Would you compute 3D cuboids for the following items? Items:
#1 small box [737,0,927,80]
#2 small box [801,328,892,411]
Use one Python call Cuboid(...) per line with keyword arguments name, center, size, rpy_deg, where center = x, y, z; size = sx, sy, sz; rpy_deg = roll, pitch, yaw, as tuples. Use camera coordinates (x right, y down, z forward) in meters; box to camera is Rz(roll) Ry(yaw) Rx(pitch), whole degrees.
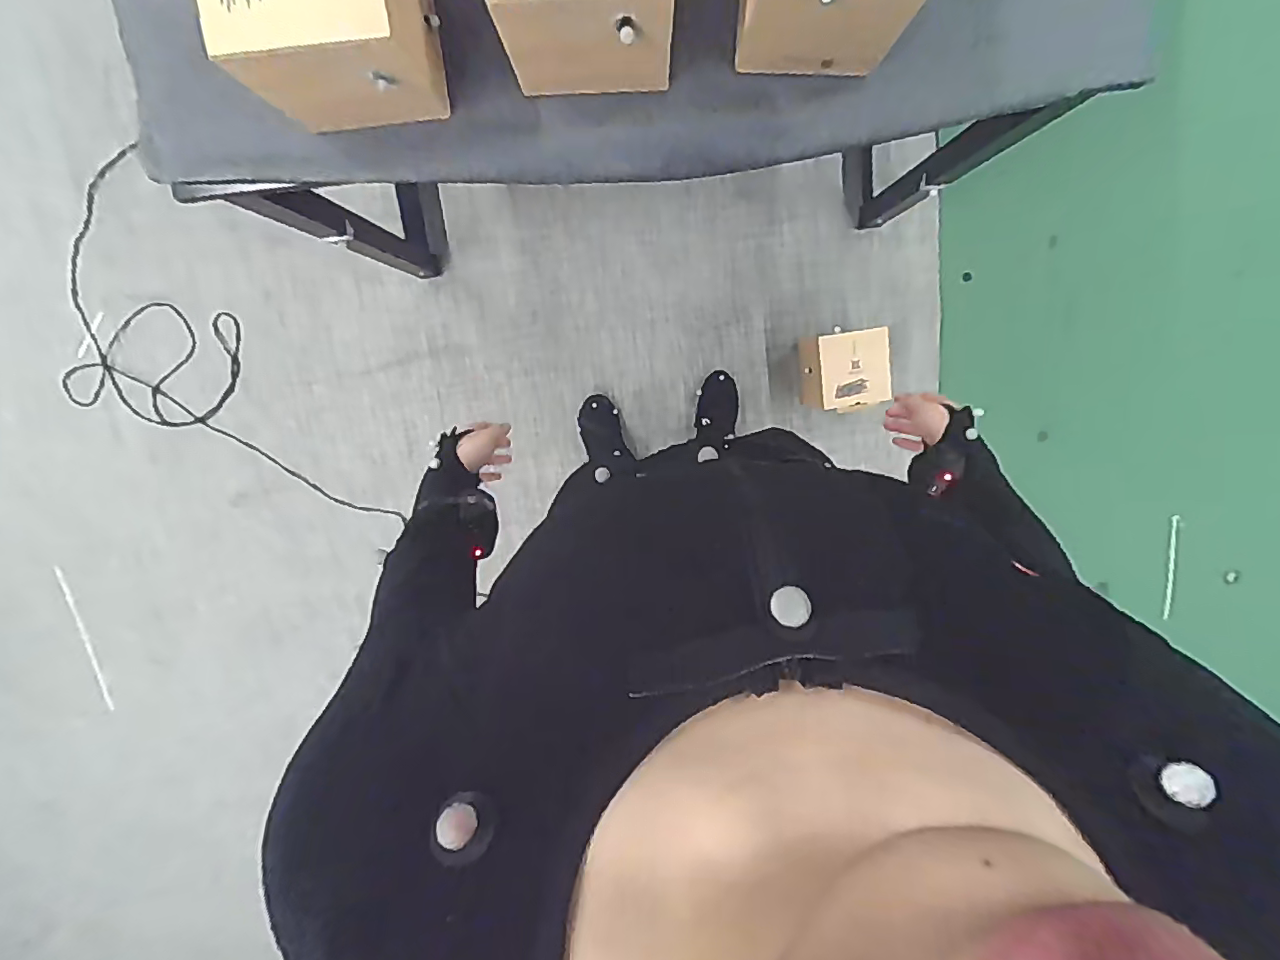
Cuboid(name="small box", center=(0.196, -0.551, 0.545), size=(0.168, 0.176, 0.179), rpy_deg=(3, 99, 0))
Cuboid(name="small box", center=(0.509, -0.274, 1.344), size=(0.168, 0.176, 0.179), rpy_deg=(-8, 101, 2))
